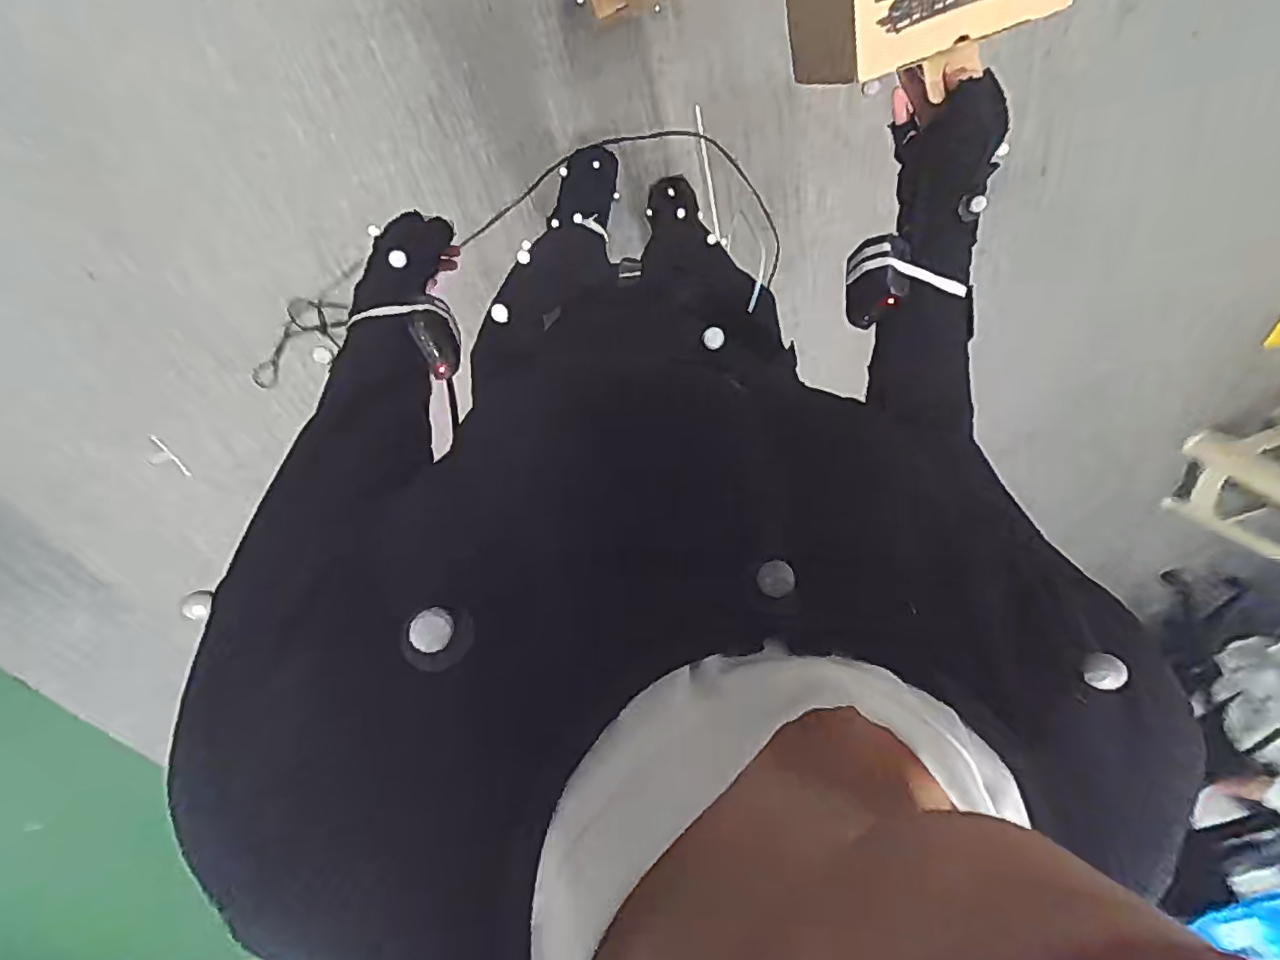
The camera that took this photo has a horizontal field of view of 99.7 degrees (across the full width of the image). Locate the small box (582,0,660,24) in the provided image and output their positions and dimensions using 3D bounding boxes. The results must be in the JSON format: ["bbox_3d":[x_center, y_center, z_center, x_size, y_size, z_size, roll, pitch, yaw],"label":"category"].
[{"bbox_3d":[-0.035,-0.918,0.925,0.168,0.176,0.179,-21,124,4],"label":"small box"}]

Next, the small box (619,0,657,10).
[{"bbox_3d":[-0.031,-0.836,0.801,0.179,0.176,0.168,8,122,-16],"label":"small box"}]
